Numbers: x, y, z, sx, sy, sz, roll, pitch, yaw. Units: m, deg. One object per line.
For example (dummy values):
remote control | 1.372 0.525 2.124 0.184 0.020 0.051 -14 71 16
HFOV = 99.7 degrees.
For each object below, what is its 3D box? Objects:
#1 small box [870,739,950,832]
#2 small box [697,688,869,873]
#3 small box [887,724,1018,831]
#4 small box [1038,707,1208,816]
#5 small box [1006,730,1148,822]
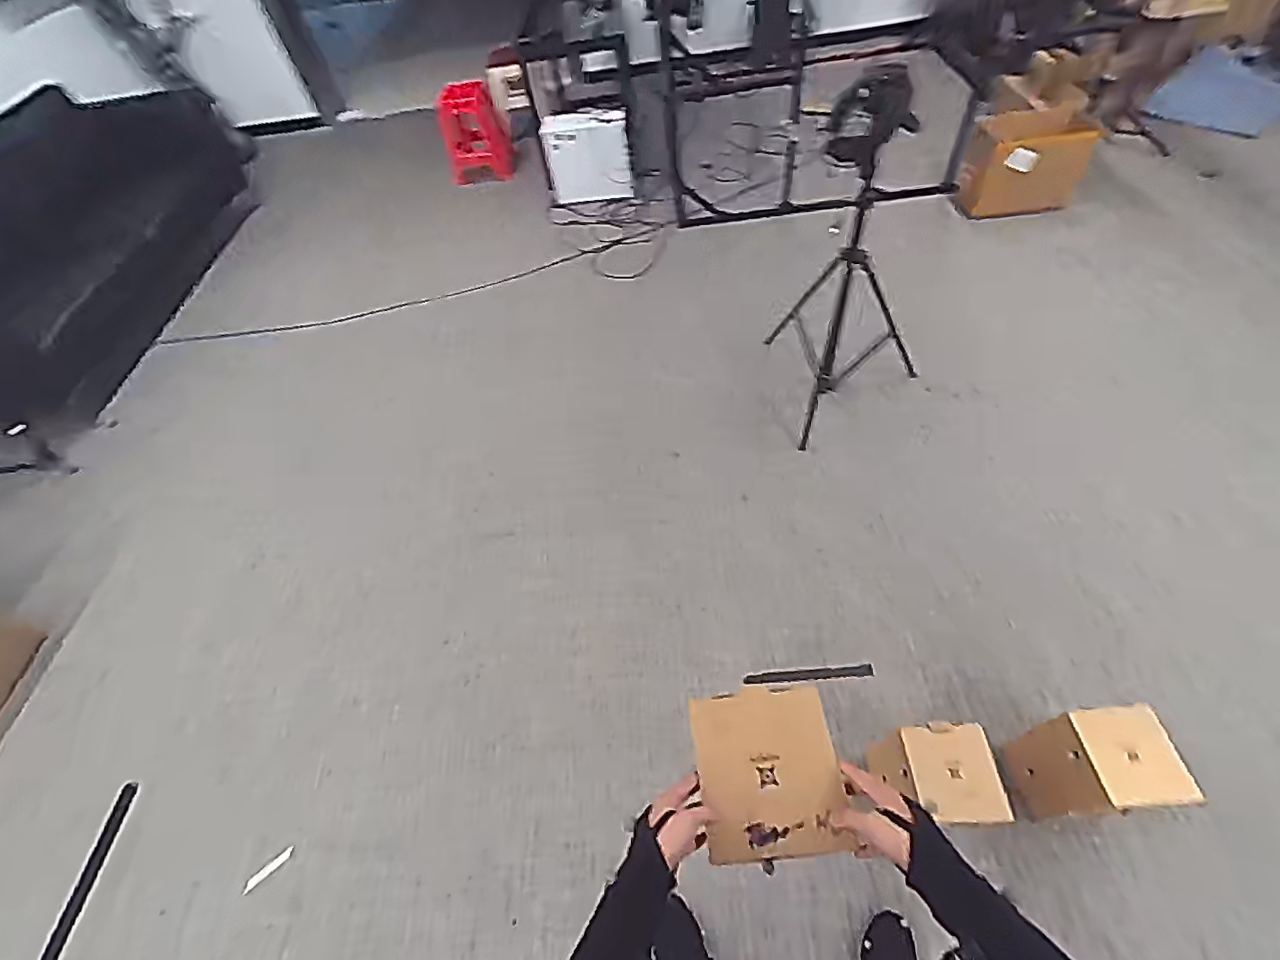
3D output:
small box | 0.659 0.720 1.273 0.168 0.176 0.179 -4 54 5
small box | 0.167 0.386 0.689 0.168 0.176 0.179 -9 53 4
small box | 0.641 0.628 1.137 0.168 0.176 0.179 -5 53 6
small box | 0.981 0.588 1.120 0.168 0.176 0.179 -6 52 3
small box | 0.997 0.684 1.250 0.168 0.176 0.179 -7 53 3
